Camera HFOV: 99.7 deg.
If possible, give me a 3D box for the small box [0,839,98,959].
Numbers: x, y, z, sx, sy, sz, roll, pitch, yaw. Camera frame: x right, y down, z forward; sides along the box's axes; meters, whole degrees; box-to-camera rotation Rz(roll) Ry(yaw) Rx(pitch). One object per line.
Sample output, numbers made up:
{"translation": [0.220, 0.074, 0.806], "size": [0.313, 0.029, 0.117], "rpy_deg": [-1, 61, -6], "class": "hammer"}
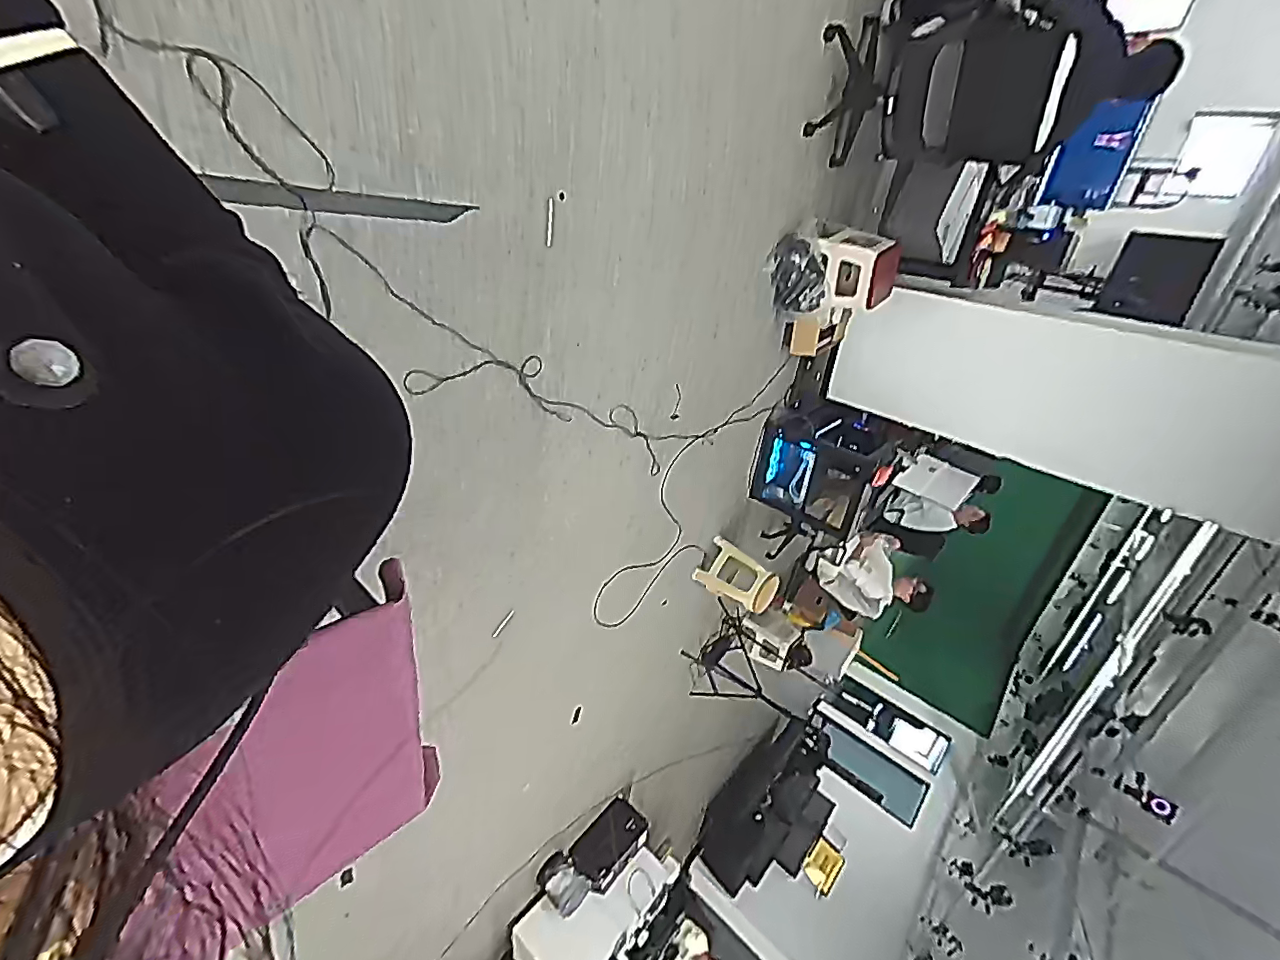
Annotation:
{"translation": [-0.760, 0.573, 0.624], "size": [0.168, 0.176, 0.179], "rpy_deg": [-21, 129, -48], "class": "small box"}
